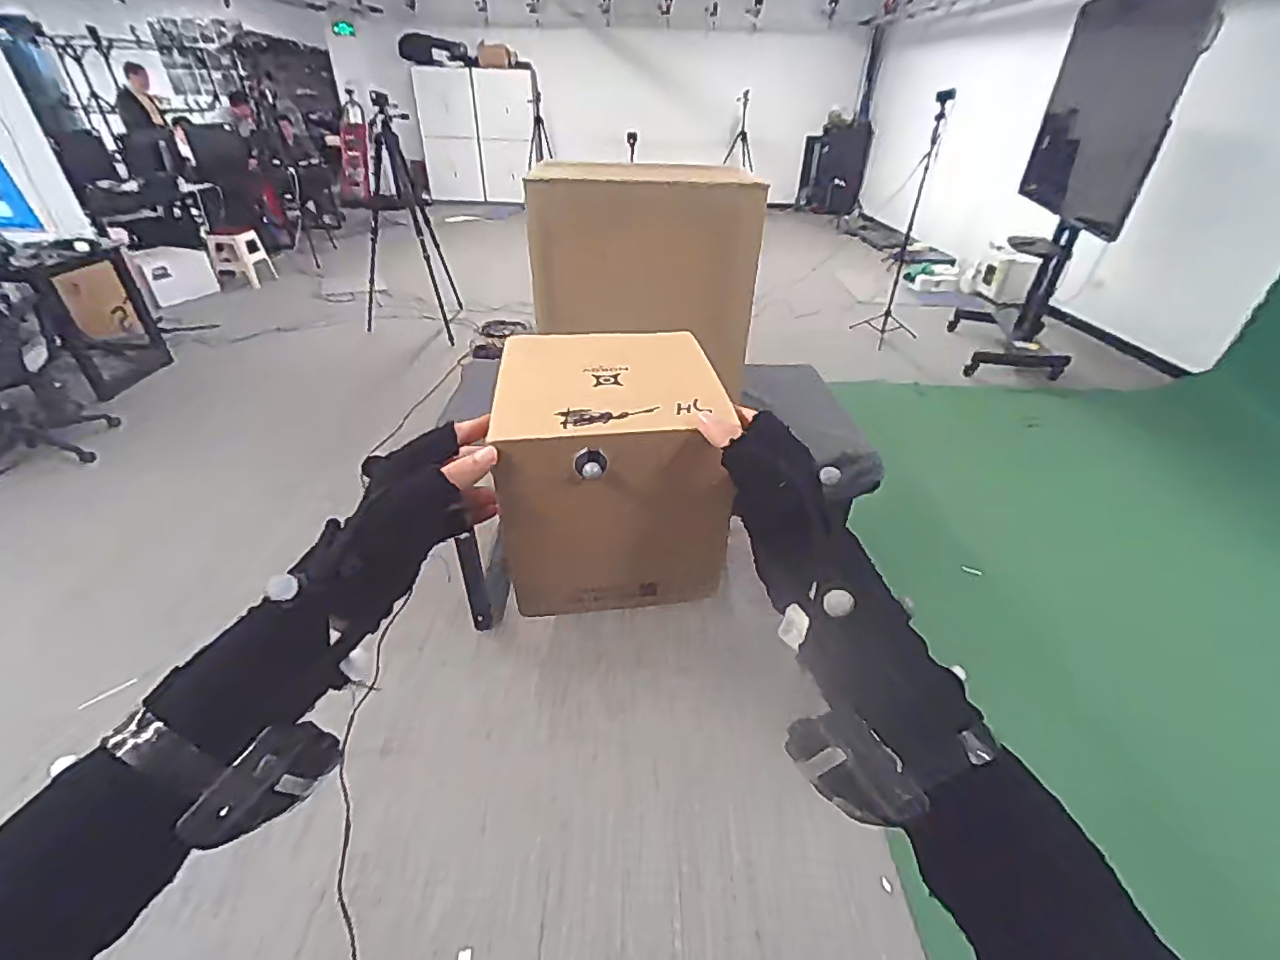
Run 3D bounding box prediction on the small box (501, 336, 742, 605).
[{"bbox_3d":[-0.020,-0.015,0.473,0.168,0.176,0.179,-4,35,-5],"label":"small box"}]
